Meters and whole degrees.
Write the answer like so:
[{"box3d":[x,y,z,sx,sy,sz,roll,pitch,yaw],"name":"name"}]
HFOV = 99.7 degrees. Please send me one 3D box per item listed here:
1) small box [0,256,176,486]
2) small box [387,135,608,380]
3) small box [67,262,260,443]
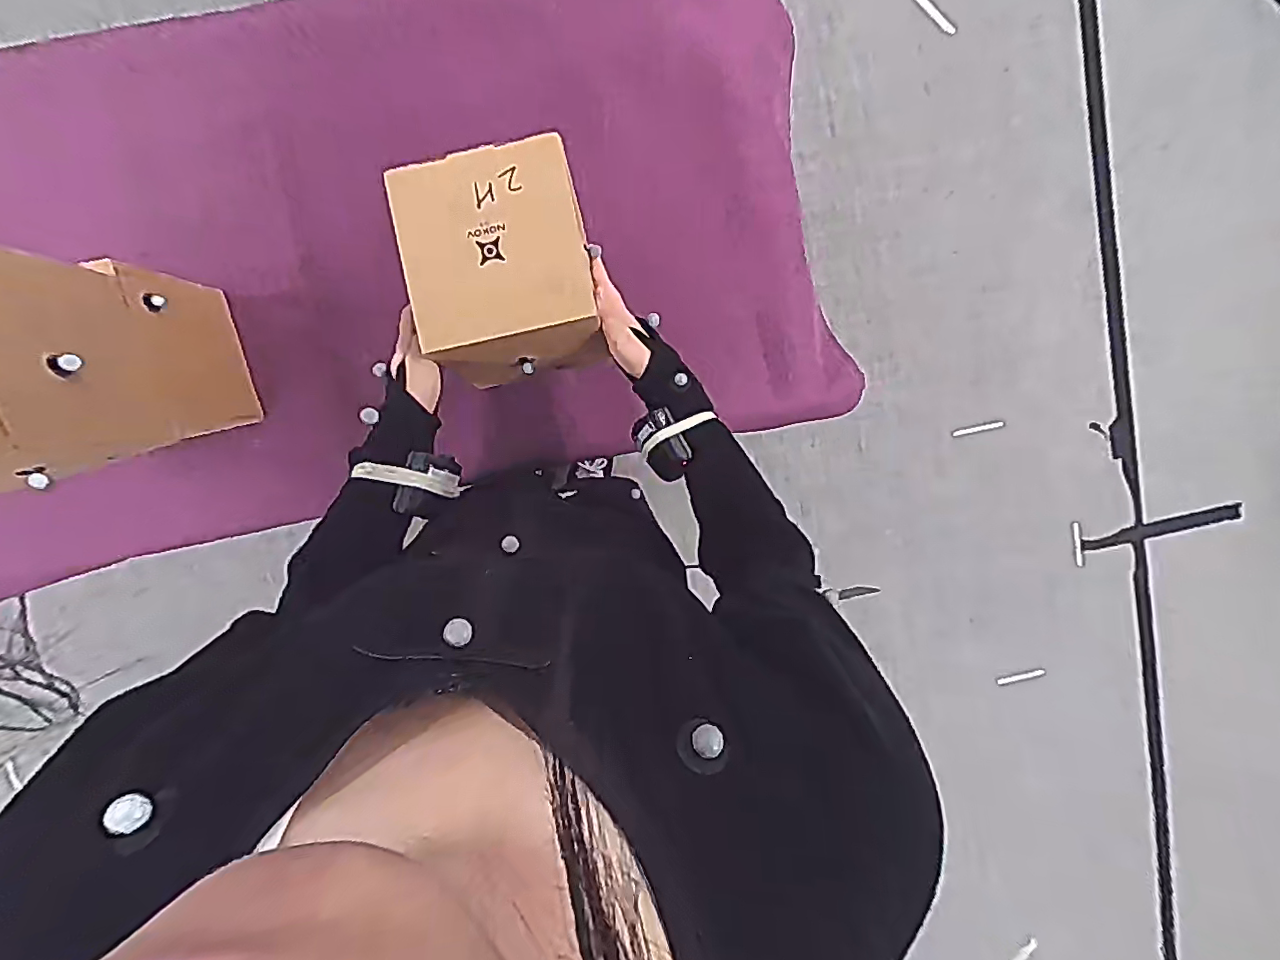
[{"box3d":[-0.573,-0.089,0.474,0.168,0.176,0.179,-18,99,-2],"name":"small box"},{"box3d":[-0.133,-0.211,0.569,0.168,0.176,0.179,-12,89,1],"name":"small box"},{"box3d":[-0.594,-0.132,0.632,0.168,0.176,0.179,-13,98,-2],"name":"small box"}]
